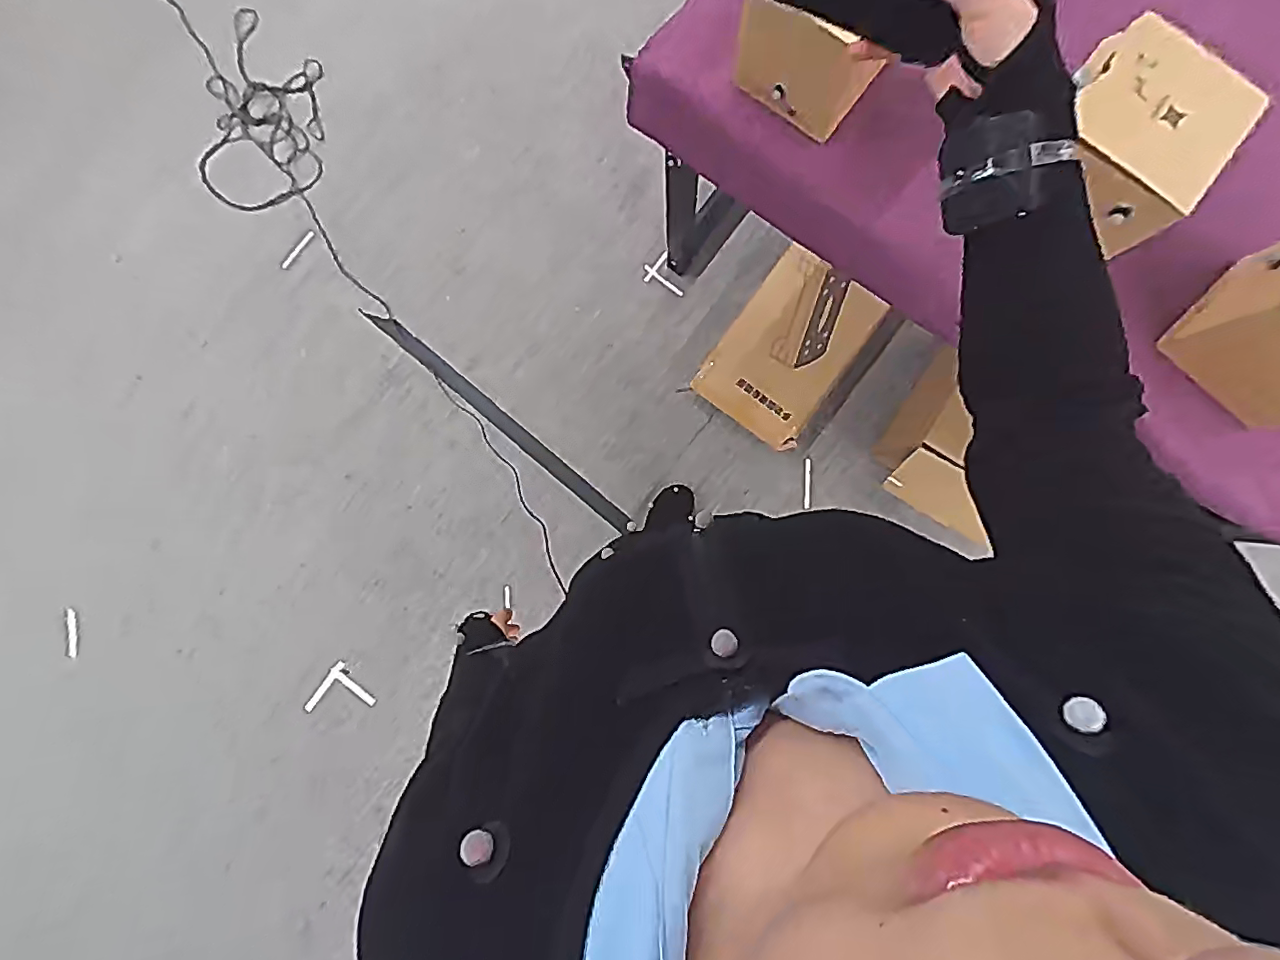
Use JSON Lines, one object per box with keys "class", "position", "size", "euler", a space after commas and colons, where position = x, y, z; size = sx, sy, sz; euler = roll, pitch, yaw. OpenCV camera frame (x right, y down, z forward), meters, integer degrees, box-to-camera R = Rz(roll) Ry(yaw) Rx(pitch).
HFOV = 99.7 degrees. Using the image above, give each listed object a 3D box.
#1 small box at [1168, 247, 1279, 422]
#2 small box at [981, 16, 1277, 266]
{"class": "small box", "position": [0.824, -0.190, 0.656], "size": [0.179, 0.176, 0.168], "euler": [44, 91, 4]}
{"class": "small box", "position": [0.586, -0.399, 0.676], "size": [0.179, 0.176, 0.168], "euler": [37, 88, 4]}
